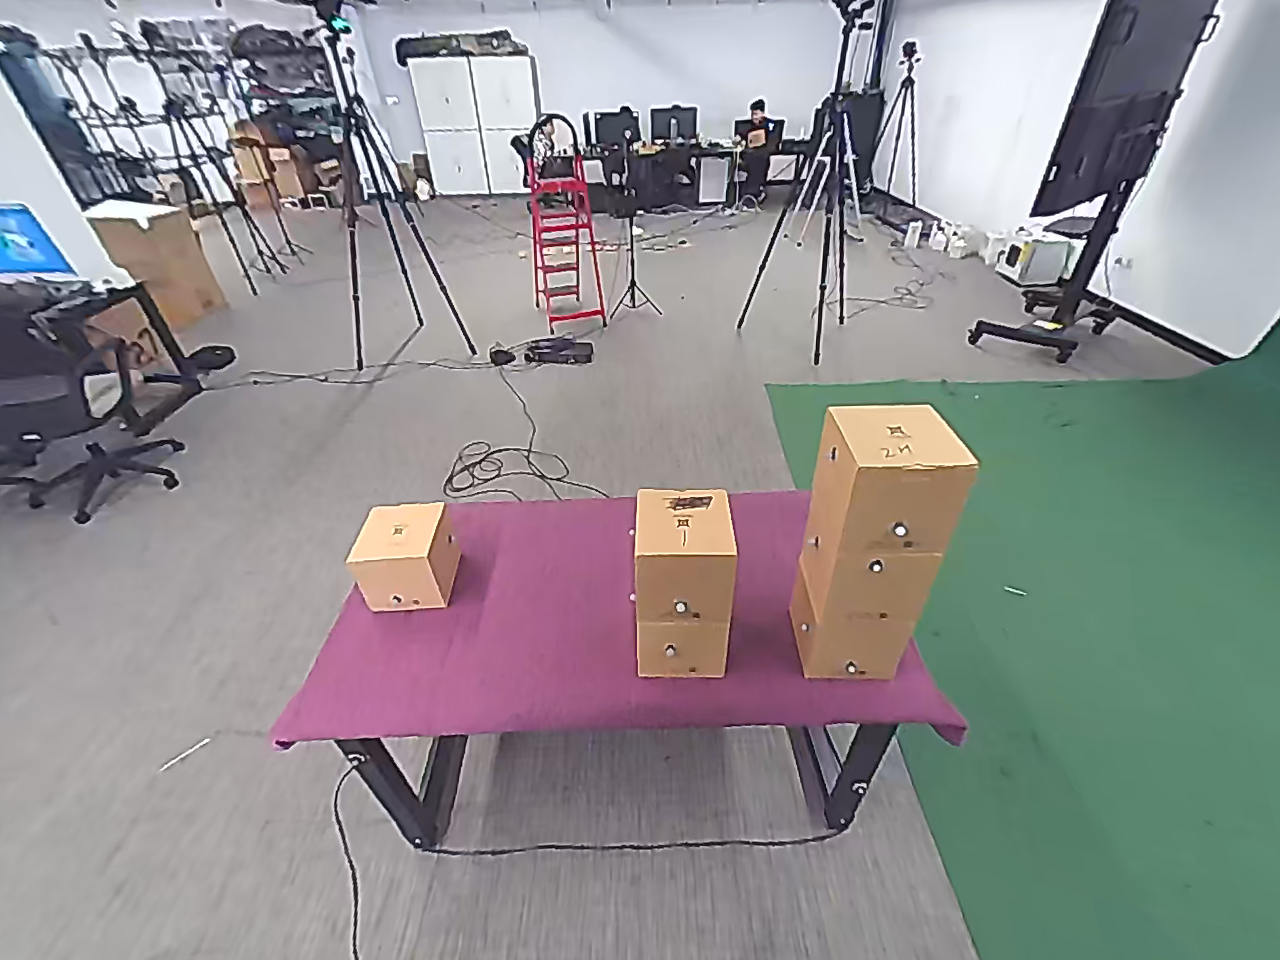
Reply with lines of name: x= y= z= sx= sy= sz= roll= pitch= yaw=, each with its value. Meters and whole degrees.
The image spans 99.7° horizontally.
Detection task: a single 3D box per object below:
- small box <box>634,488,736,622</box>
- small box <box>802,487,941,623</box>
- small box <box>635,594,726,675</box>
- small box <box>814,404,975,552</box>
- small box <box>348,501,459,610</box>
small box: x=0.076 y=0.131 z=0.971 sx=0.168 sy=0.176 sz=0.179 roll=-1 pitch=37 yaw=3
small box: x=0.393 y=0.128 z=0.956 sx=0.168 sy=0.176 sz=0.179 roll=-1 pitch=36 yaw=4
small box: x=0.079 y=0.265 z=1.067 sx=0.168 sy=0.176 sz=0.179 roll=-1 pitch=36 yaw=2
small box: x=0.386 y=-0.006 z=0.860 sx=0.168 sy=0.176 sz=0.179 roll=-1 pitch=37 yaw=3
small box: x=-0.518 y=0.168 z=1.216 sx=0.168 sy=0.176 sz=0.179 roll=-4 pitch=38 yaw=-2
